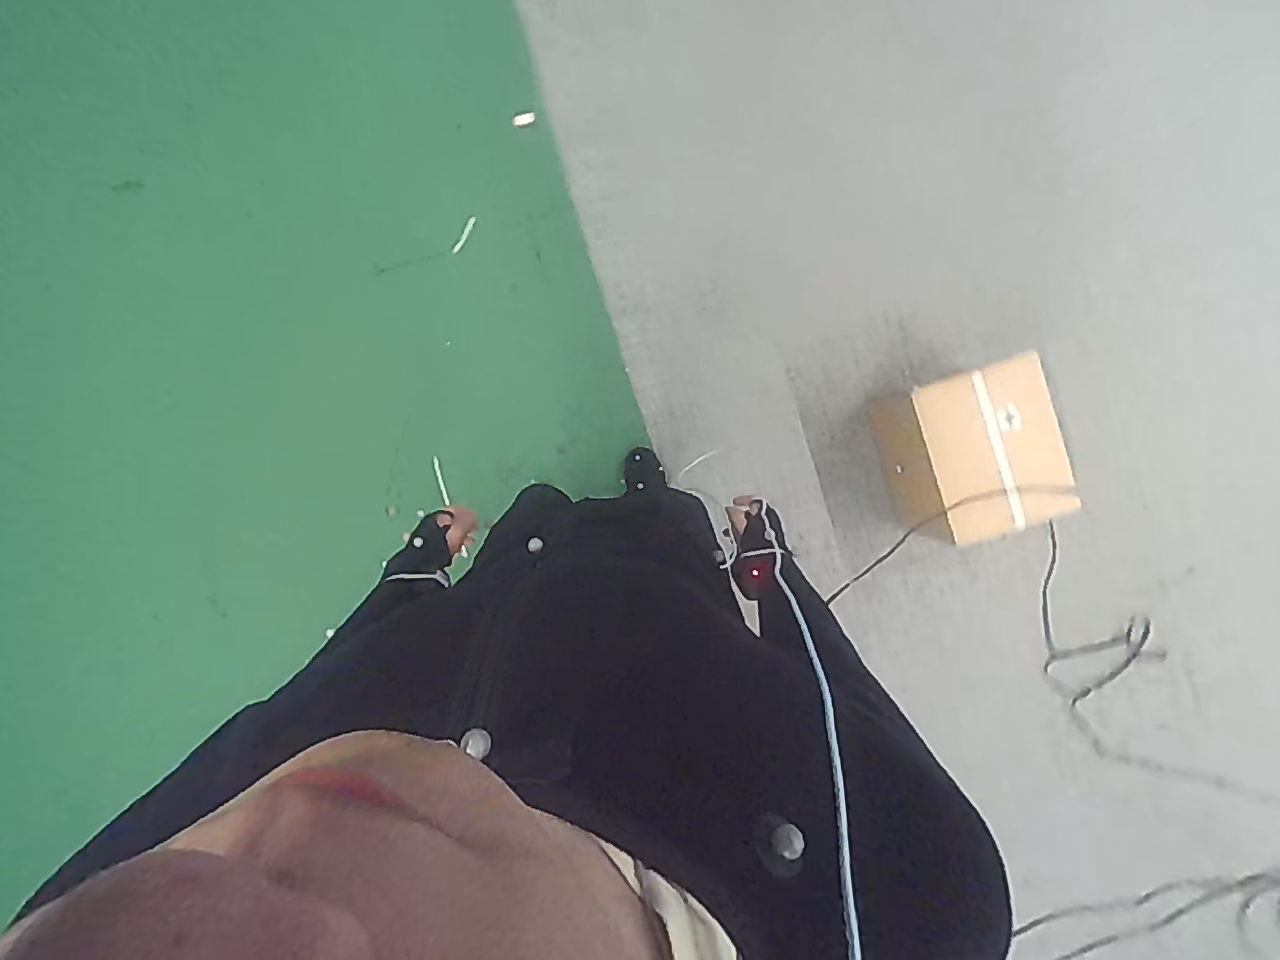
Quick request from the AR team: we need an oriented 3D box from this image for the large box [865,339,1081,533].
[{"bbox_3d":[0.864,-0.109,1.456,0.320,0.320,0.408,-20,91,3],"label":"large box"}]
